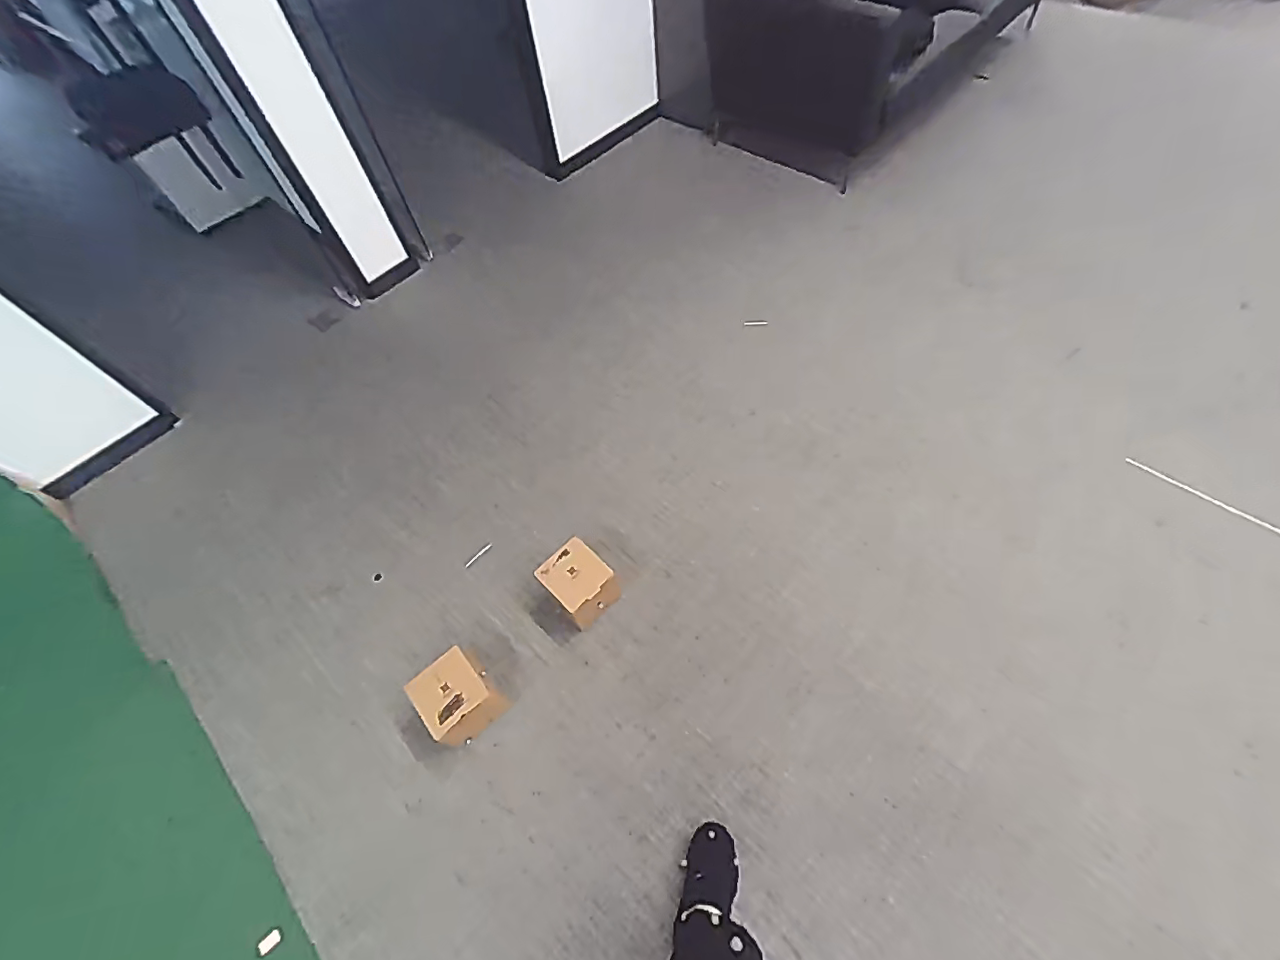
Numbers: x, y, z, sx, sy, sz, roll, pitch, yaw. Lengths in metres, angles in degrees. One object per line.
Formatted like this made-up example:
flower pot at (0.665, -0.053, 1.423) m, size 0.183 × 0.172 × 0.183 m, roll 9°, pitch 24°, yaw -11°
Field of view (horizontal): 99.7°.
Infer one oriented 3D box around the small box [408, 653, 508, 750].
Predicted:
small box at (-0.485, 0.607, 1.466) m, size 0.168 × 0.176 × 0.179 m, roll -38°, pitch 61°, yaw -18°

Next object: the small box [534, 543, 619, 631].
small box at (-0.179, 0.323, 1.596) m, size 0.168 × 0.176 × 0.179 m, roll -41°, pitch 63°, yaw -19°
